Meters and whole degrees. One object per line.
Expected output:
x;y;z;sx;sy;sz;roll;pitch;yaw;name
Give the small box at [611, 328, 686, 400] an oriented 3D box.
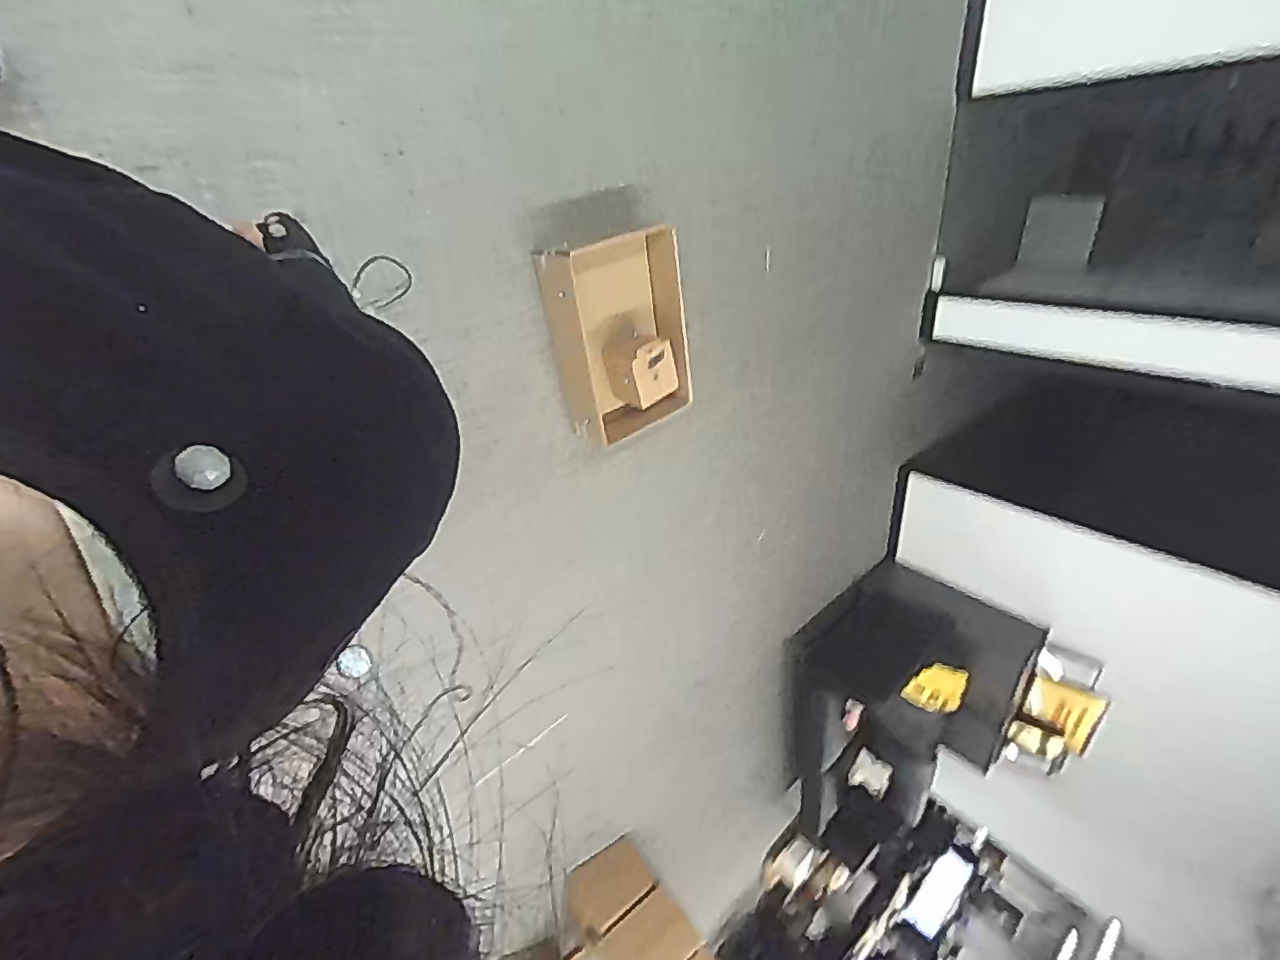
0.024;-0.394;1.803;0.168;0.176;0.179;-34;130;-23;small box
